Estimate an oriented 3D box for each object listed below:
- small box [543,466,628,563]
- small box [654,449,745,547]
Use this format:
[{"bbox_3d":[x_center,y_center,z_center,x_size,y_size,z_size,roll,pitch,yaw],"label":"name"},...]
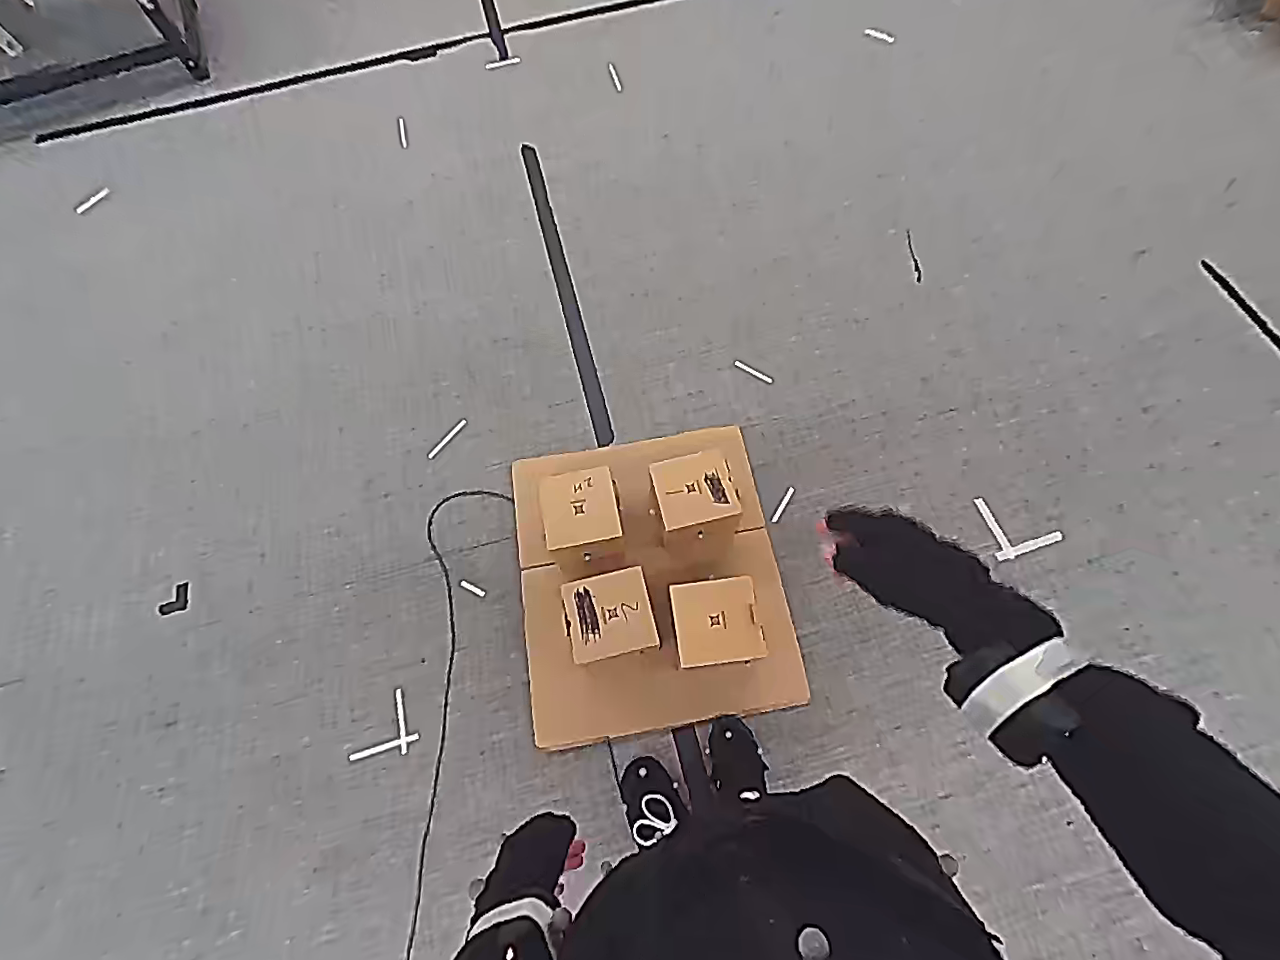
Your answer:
[{"bbox_3d":[-0.123,0.088,1.271,0.168,0.176,0.179,-10,68,-3],"label":"small box"},{"bbox_3d":[0.132,0.047,1.277,0.179,0.176,0.168,-12,68,-2],"label":"small box"}]
